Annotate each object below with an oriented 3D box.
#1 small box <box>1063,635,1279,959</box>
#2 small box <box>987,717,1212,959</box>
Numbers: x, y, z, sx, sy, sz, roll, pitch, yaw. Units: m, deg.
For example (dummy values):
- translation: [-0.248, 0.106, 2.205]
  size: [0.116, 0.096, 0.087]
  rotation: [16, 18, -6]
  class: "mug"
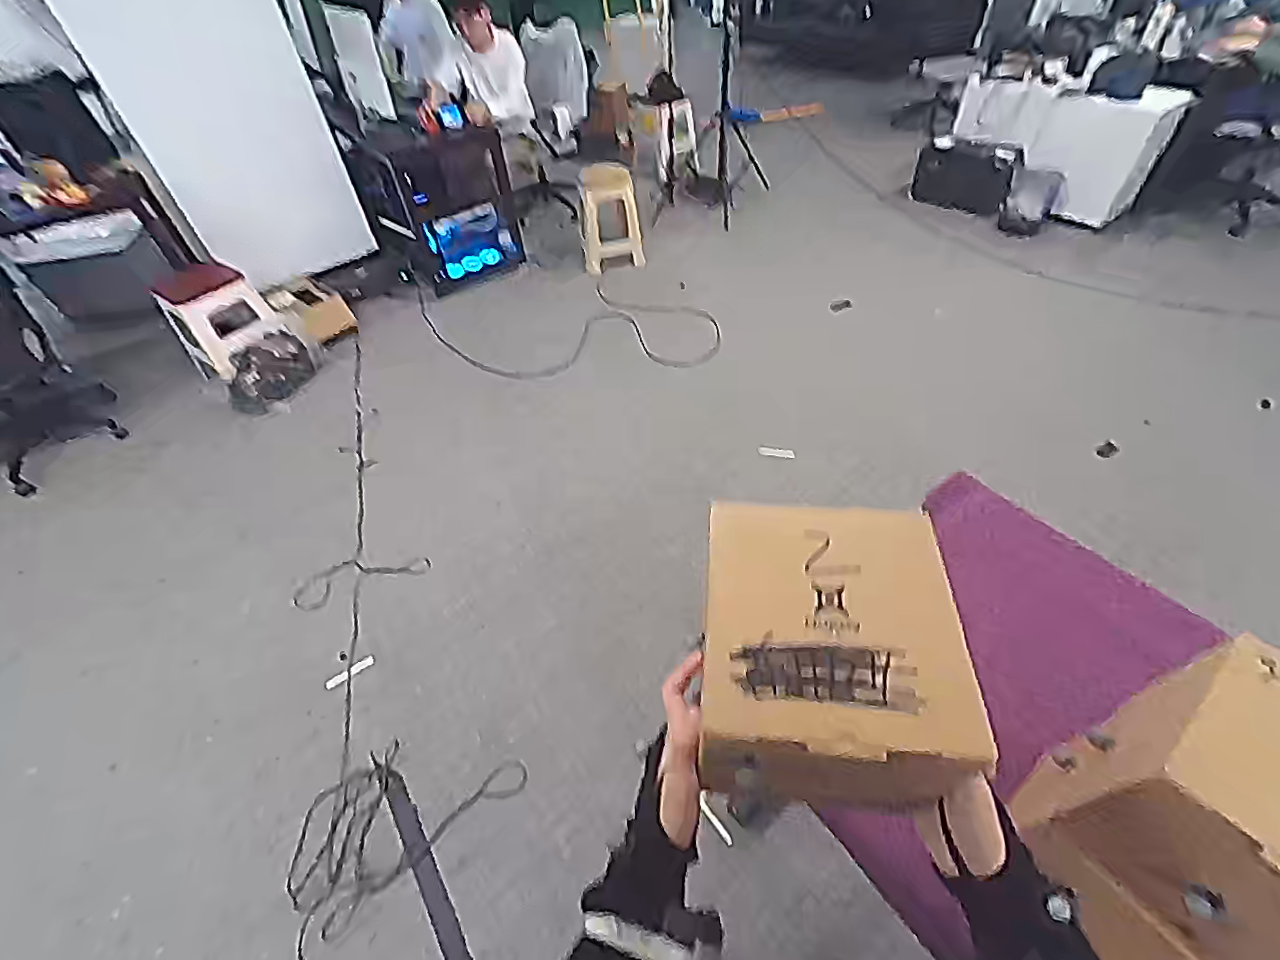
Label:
- translation: [0.495, 0.270, 0.437]
  size: [0.179, 0.176, 0.168]
  rotation: [-31, 53, -23]
  class: "small box"
- translation: [0.498, 0.385, 0.554]
  size: [0.179, 0.176, 0.168]
  rotation: [-29, 52, -22]
  class: "small box"
